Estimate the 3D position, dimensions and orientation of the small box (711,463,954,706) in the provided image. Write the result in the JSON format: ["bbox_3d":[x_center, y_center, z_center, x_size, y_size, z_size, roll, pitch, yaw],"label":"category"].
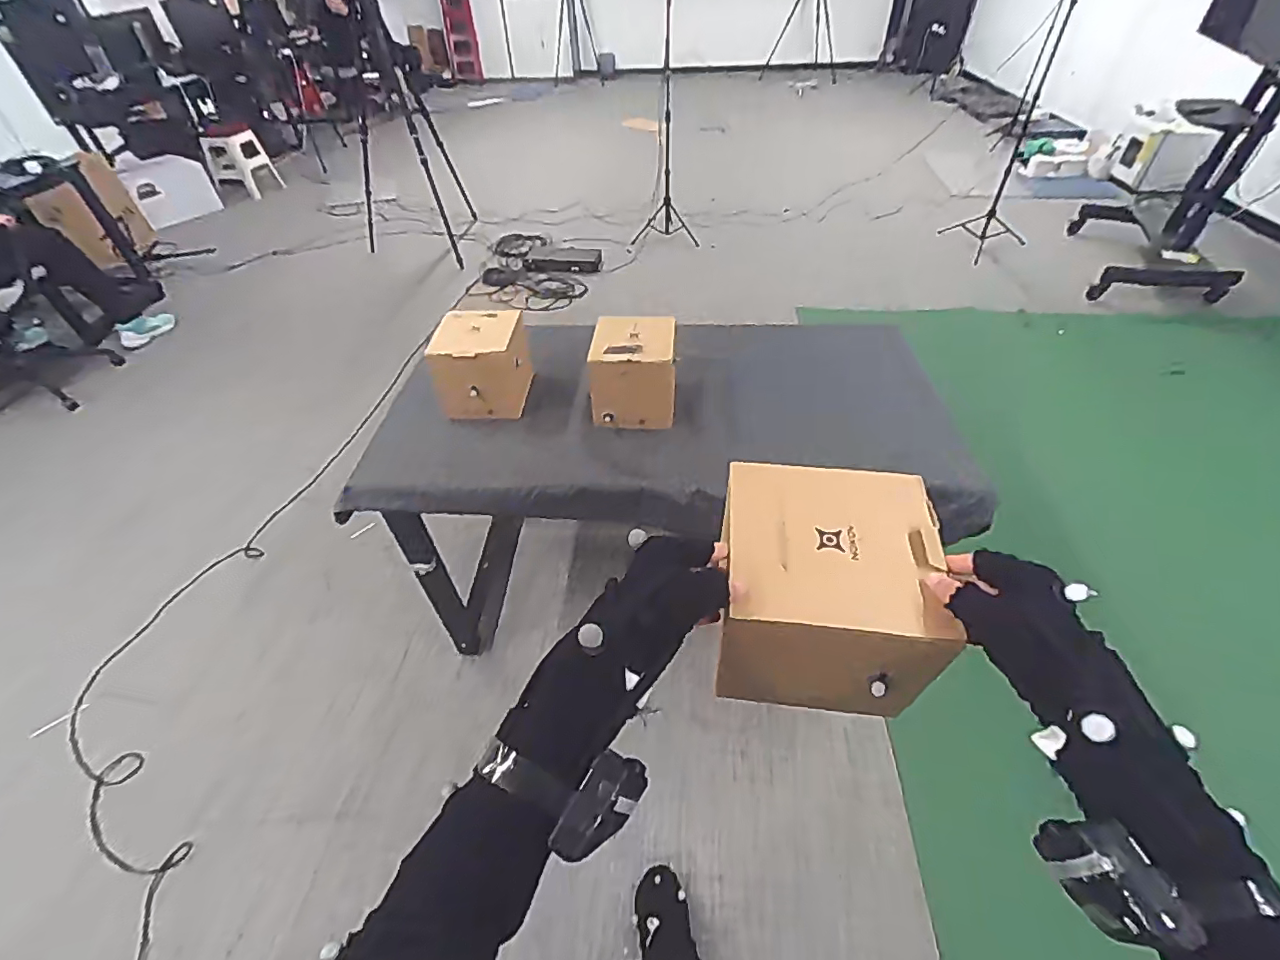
[{"bbox_3d":[0.162,0.103,0.520,0.179,0.176,0.168,2,47,8],"label":"small box"}]

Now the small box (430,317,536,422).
[{"bbox_3d":[-0.334,-0.240,1.192,0.168,0.176,0.179,0,45,3],"label":"small box"}]

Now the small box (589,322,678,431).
[{"bbox_3d":[-0.006,-0.219,1.152,0.168,0.176,0.179,2,44,5],"label":"small box"}]
